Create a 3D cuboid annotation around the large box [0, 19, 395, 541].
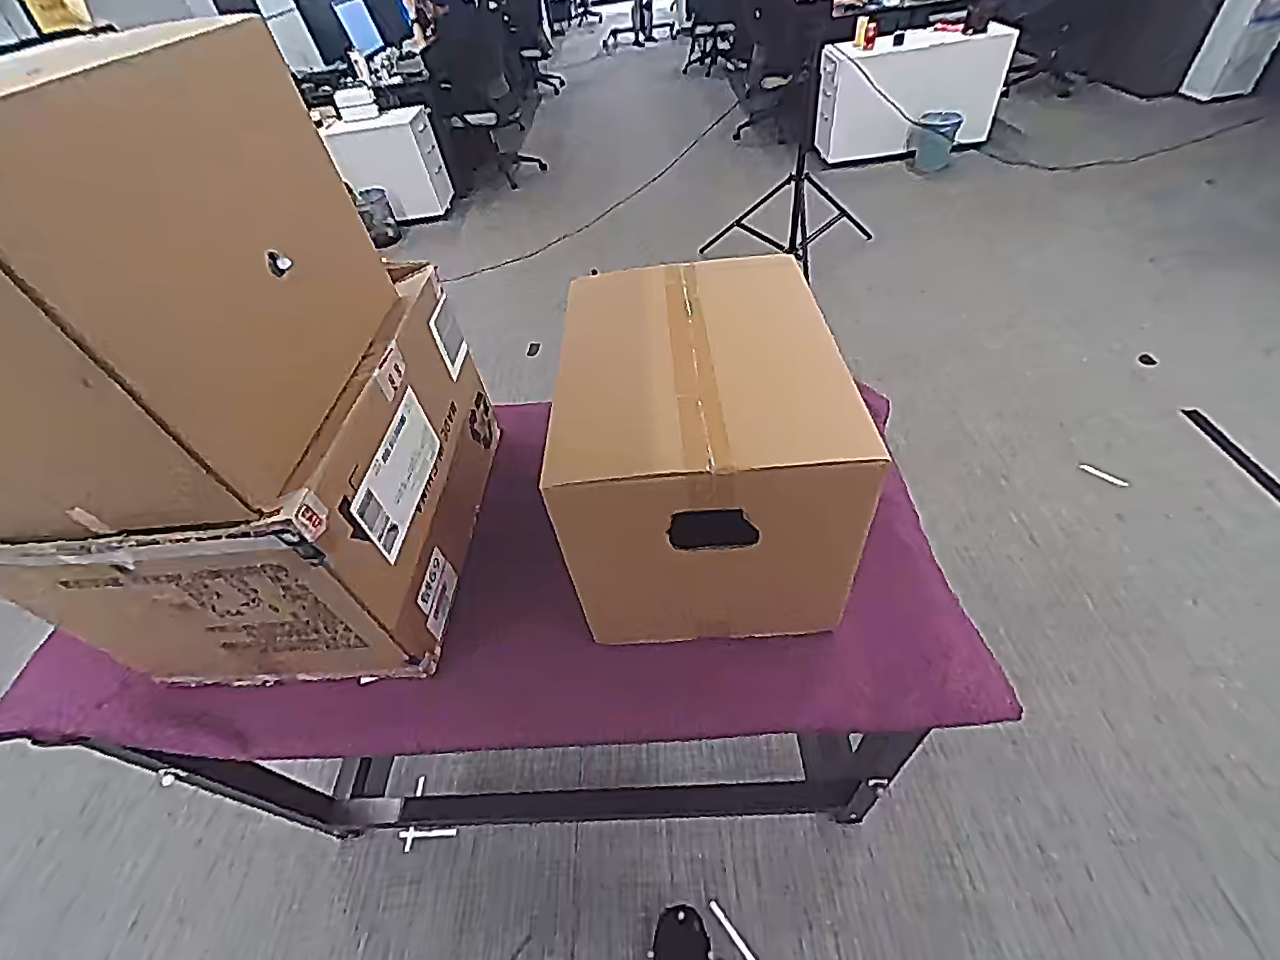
[{"bbox_3d":[-0.497,-0.199,0.527,0.320,0.320,0.408,-6,47,5],"label":"large box"}]
